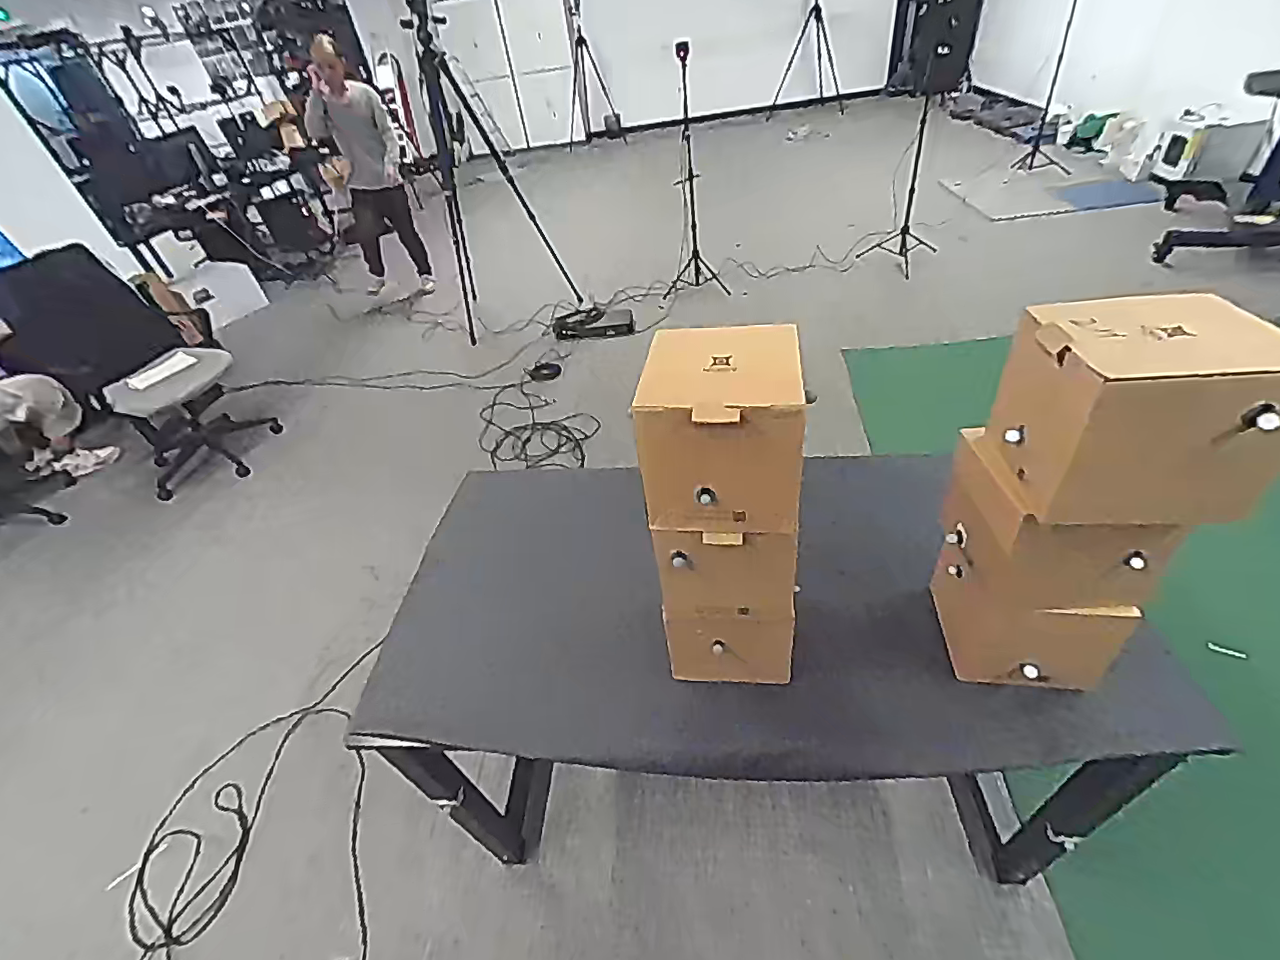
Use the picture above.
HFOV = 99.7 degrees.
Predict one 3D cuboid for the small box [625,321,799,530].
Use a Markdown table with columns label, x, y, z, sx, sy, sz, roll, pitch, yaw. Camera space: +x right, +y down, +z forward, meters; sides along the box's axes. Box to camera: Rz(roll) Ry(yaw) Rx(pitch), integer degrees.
| label | x | y | z | sx | sy | sz | roll | pitch | yaw |
| --- | --- | --- | --- | --- | --- | --- | --- | --- | --- |
| small box | 0.087 | -0.065 | 0.616 | 0.168 | 0.176 | 0.179 | 0 | 40 | 12 |

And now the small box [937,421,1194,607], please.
| label | x | y | z | sx | sy | sz | roll | pitch | yaw |
| --- | --- | --- | --- | --- | --- | --- | --- | --- | --- |
| small box | 0.495 | 0.037 | 0.661 | 0.179 | 0.176 | 0.168 | -6 | 38 | 8 |

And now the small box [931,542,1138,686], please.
| label | x | y | z | sx | sy | sz | roll | pitch | yaw |
| --- | --- | --- | --- | --- | --- | --- | --- | --- | --- |
| small box | 0.528 | 0.161 | 0.761 | 0.168 | 0.176 | 0.179 | 0 | 40 | 13 |

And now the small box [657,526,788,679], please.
| label | x | y | z | sx | sy | sz | roll | pitch | yaw |
| --- | --- | --- | --- | --- | --- | --- | --- | --- | --- |
| small box | 0.130 | 0.186 | 0.823 | 0.179 | 0.176 | 0.168 | -2 | 41 | 10 |

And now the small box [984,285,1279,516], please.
| label | x | y | z | sx | sy | sz | roll | pitch | yaw |
| --- | --- | --- | --- | --- | --- | --- | --- | --- | --- |
| small box | 0.483 | -0.077 | 0.540 | 0.179 | 0.176 | 0.168 | -2 | 38 | 11 |
